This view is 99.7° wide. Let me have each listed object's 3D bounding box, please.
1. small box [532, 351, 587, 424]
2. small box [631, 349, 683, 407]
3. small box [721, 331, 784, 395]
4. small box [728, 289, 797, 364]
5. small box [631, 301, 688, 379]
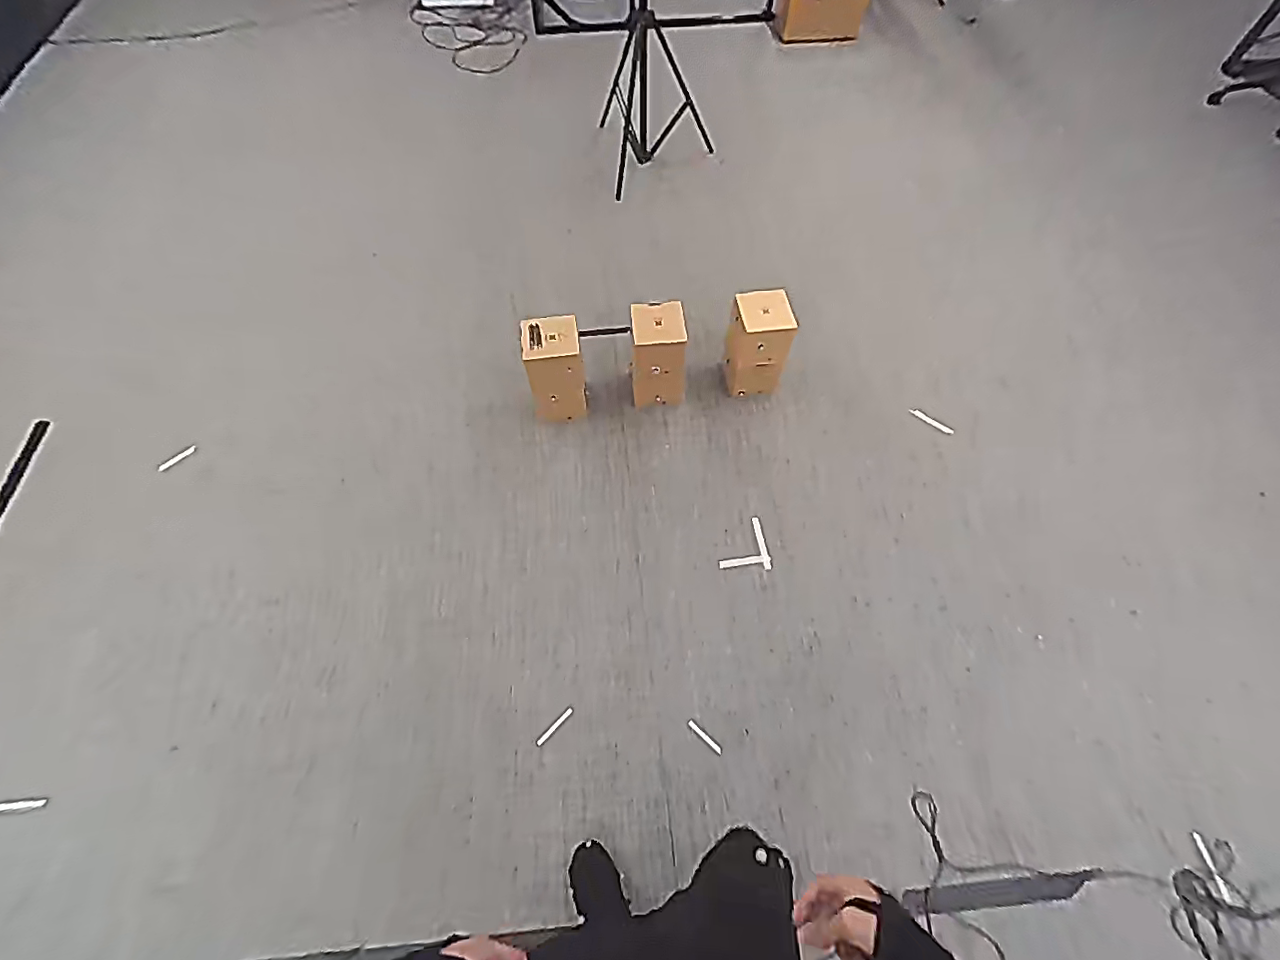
[{"bbox_3d":[-0.276,-0.316,1.860,0.168,0.176,0.179,-6,61,-3],"label":"small box"},{"bbox_3d":[0.055,-0.376,1.890,0.168,0.176,0.179,-5,62,-2],"label":"small box"},{"bbox_3d":[0.392,-0.416,1.913,0.168,0.176,0.179,-8,61,-4],"label":"small box"},{"bbox_3d":[0.395,-0.495,1.772,0.168,0.176,0.179,-7,60,-4],"label":"small box"},{"bbox_3d":[0.057,-0.450,1.744,0.168,0.176,0.179,-5,61,-2],"label":"small box"}]
